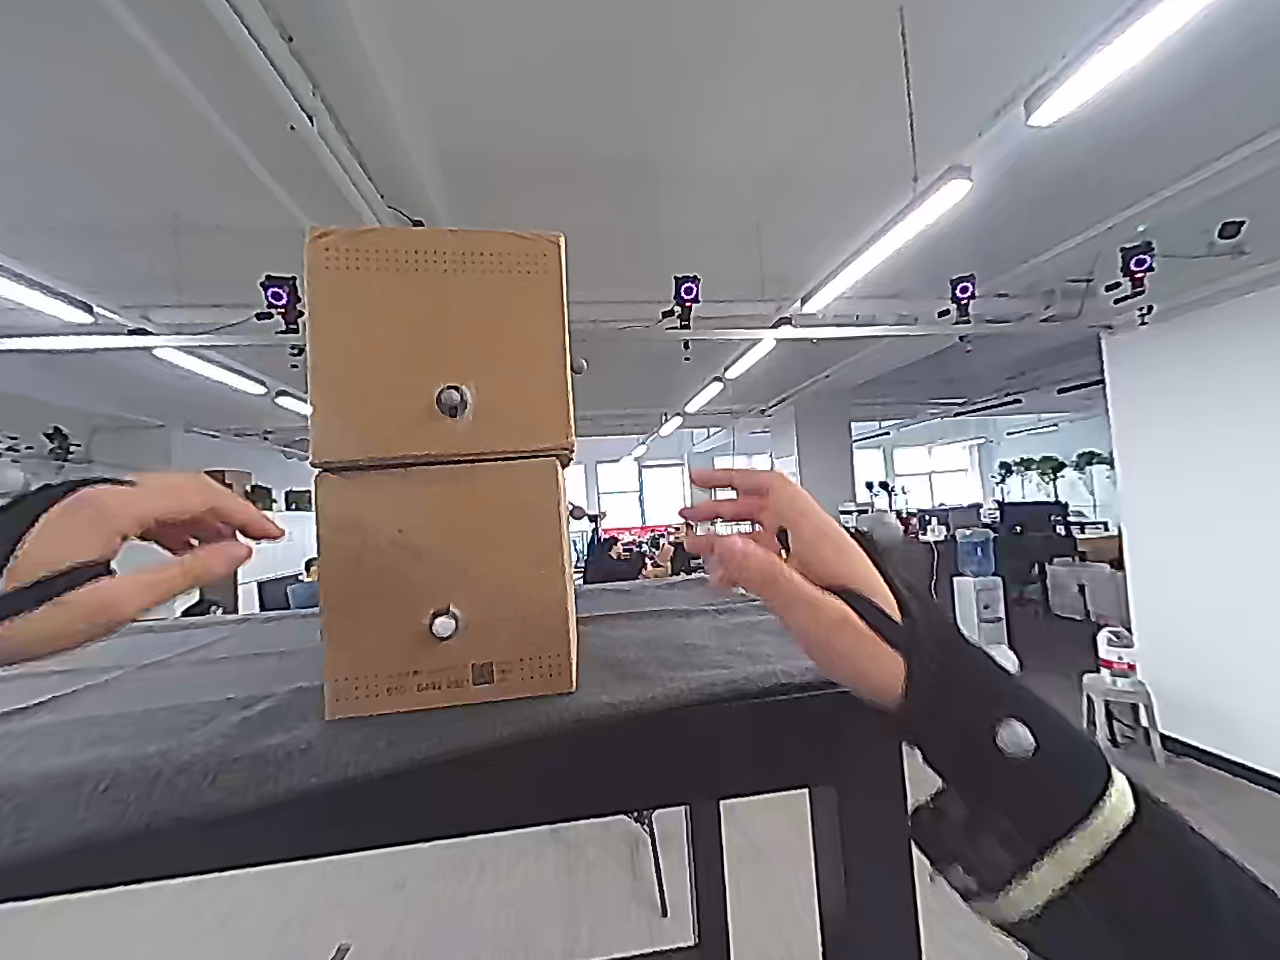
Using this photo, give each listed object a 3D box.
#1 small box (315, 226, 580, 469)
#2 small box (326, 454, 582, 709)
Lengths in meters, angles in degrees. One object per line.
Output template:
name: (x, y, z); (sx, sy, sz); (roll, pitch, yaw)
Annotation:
small box: (-0.149, -0.092, 0.453); (0.179, 0.176, 0.168); (-3, -4, -11)
small box: (-0.139, 0.075, 0.455); (0.168, 0.176, 0.179); (-5, -4, -7)
